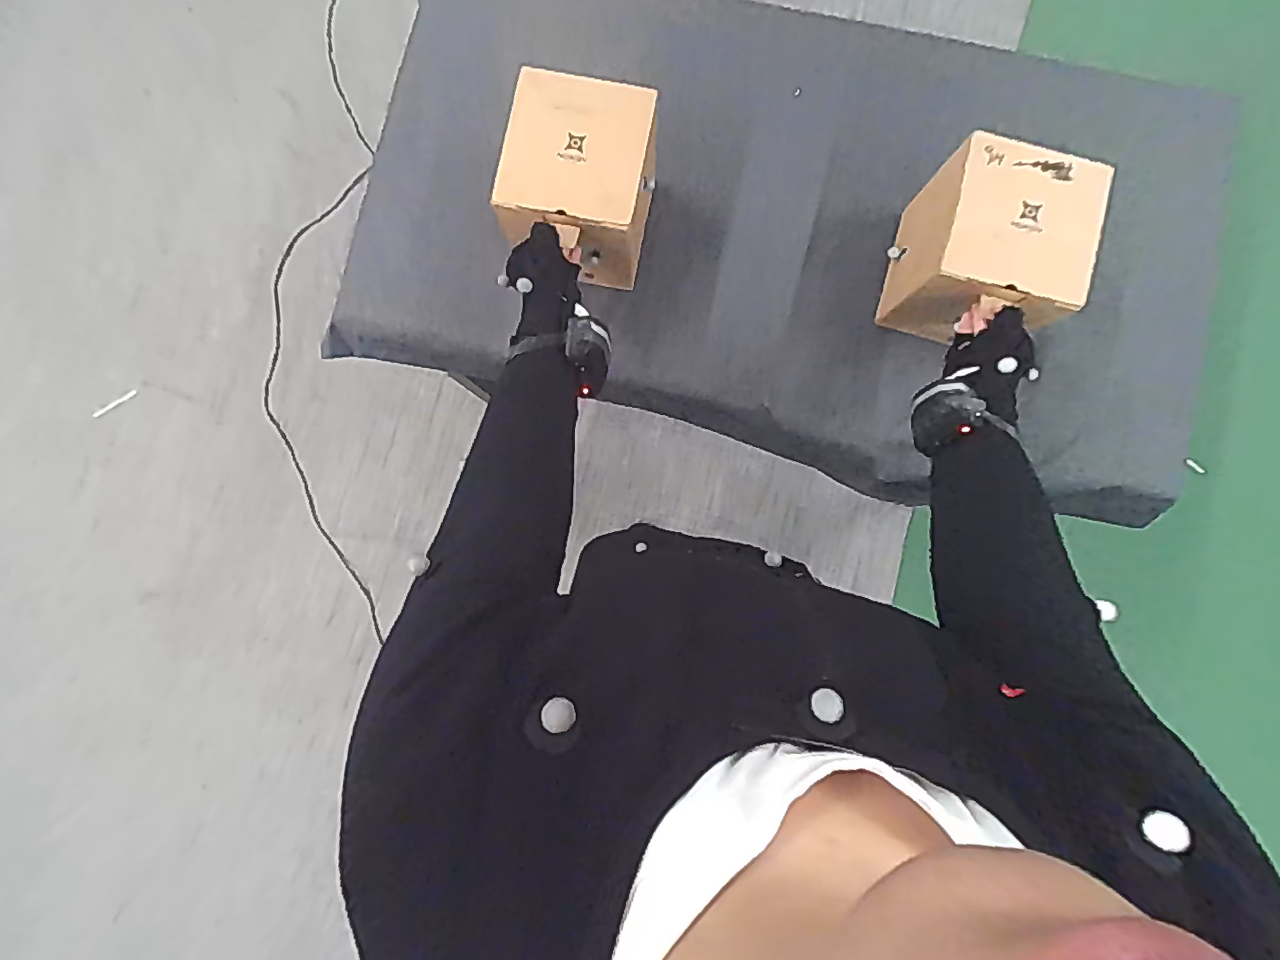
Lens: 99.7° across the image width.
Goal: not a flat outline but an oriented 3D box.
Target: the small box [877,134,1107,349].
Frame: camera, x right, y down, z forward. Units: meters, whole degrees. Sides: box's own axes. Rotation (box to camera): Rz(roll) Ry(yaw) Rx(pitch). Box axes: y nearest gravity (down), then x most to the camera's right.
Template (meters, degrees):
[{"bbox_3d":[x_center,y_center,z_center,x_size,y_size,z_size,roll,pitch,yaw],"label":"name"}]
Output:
[{"bbox_3d":[0.429,-0.286,0.690,0.168,0.176,0.179,16,87,0],"label":"small box"}]

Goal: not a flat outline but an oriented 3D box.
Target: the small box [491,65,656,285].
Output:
[{"bbox_3d":[-0.077,-0.379,0.703,0.168,0.176,0.179,11,84,0],"label":"small box"}]
